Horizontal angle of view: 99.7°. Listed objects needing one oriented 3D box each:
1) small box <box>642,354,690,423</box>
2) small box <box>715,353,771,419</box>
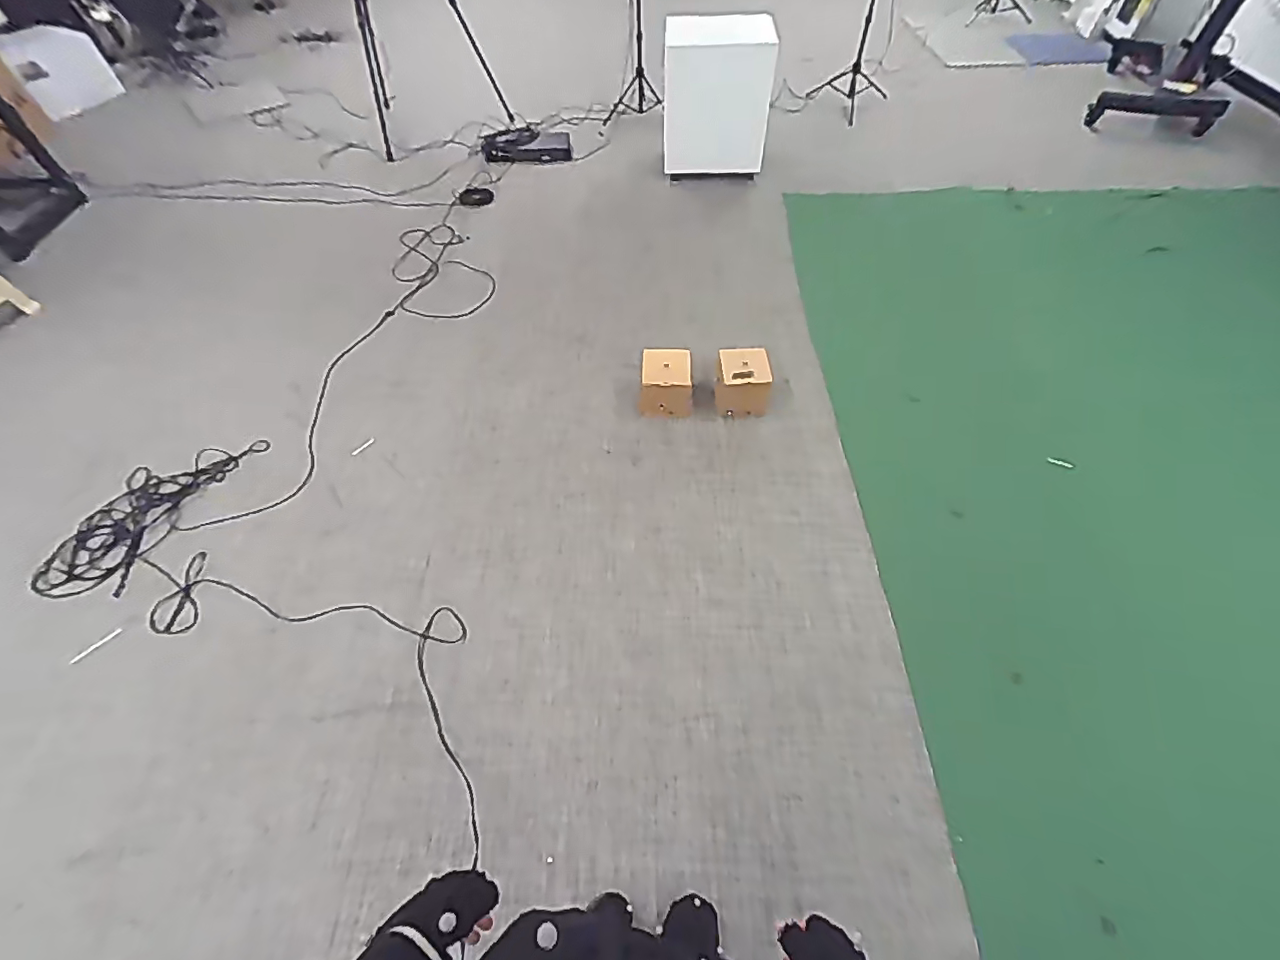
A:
[{"bbox_3d":[0.091,-0.326,1.925,0.168,0.176,0.179,1,55,2],"label":"small box"},{"bbox_3d":[0.360,-0.328,1.919,0.168,0.176,0.179,-2,54,0],"label":"small box"}]
